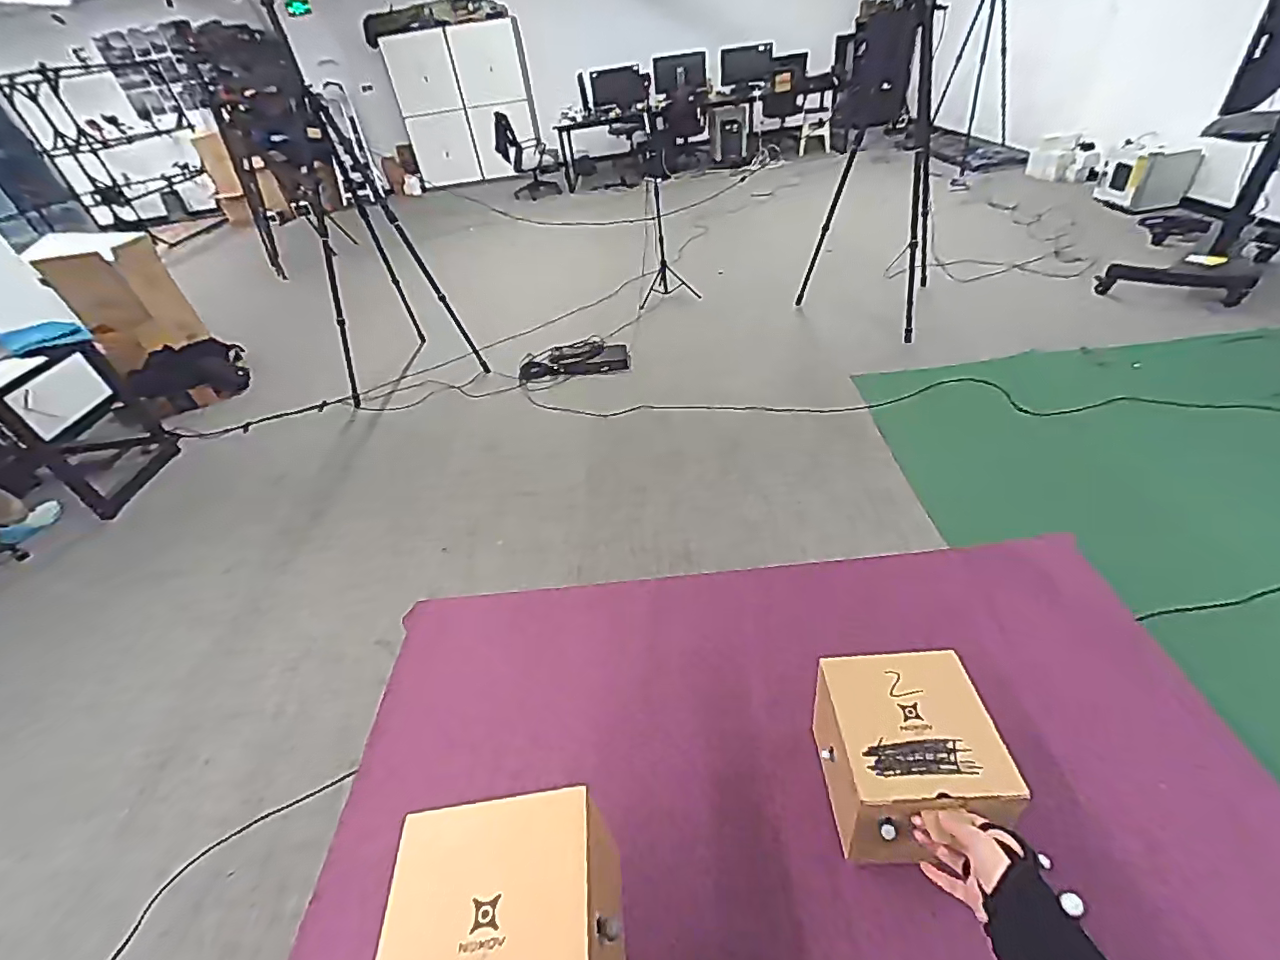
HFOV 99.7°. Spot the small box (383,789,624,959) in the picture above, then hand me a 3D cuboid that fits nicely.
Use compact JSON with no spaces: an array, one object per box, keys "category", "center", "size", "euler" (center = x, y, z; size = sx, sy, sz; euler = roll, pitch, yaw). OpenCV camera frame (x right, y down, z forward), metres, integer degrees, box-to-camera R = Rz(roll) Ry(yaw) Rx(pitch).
[{"category":"small box","center":[-0.109,0.409,0.480],"size":[0.168,0.176,0.179],"euler":[-10,40,1]}]
